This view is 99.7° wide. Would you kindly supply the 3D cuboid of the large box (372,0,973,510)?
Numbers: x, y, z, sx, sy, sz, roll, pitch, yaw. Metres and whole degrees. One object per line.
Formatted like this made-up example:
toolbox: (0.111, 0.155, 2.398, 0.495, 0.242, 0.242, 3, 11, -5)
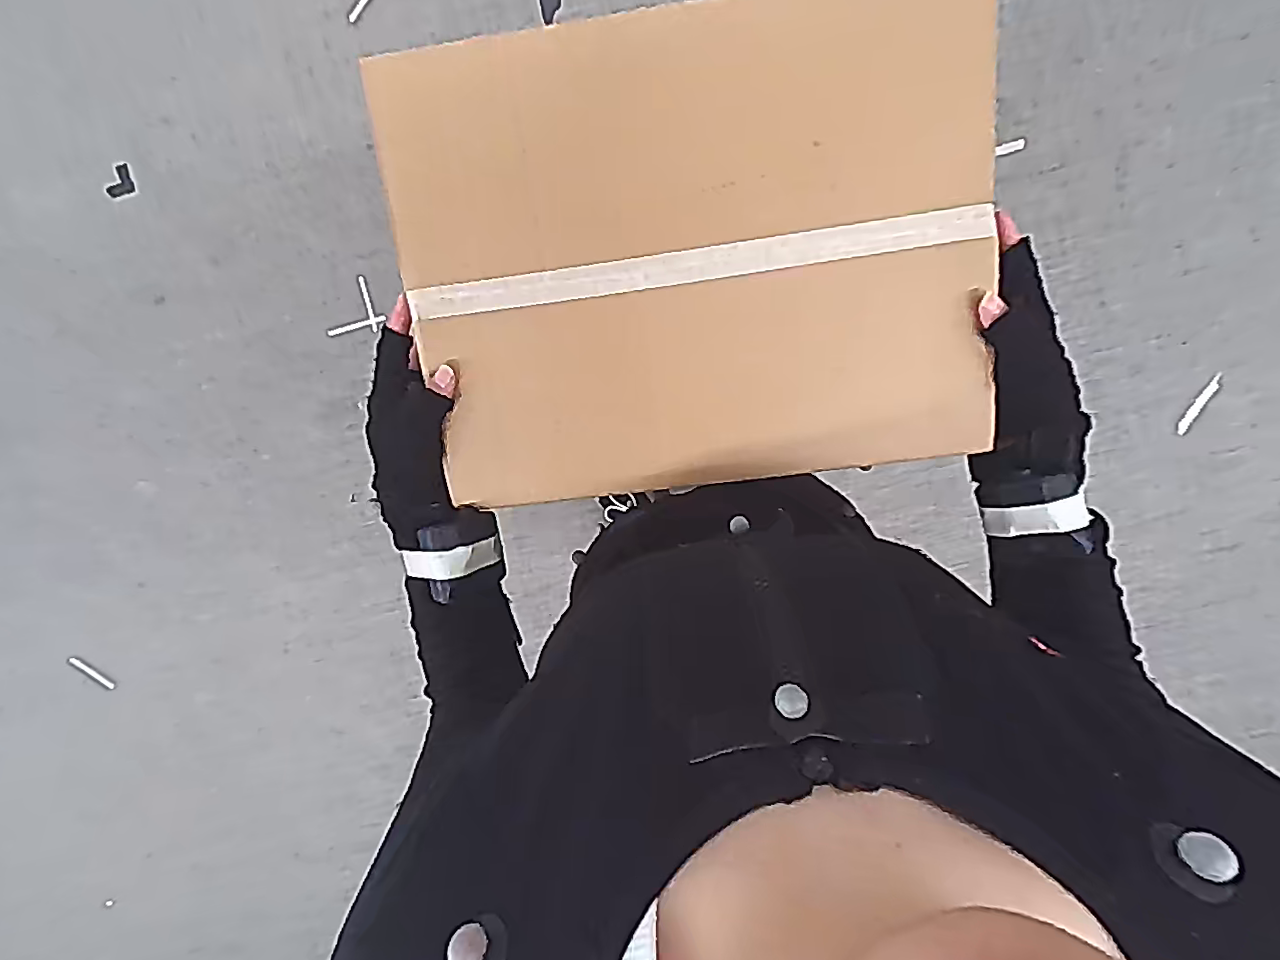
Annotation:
large box: (0.039, -0.182, 0.530, 0.408, 0.320, 0.320, -7, 102, 4)
